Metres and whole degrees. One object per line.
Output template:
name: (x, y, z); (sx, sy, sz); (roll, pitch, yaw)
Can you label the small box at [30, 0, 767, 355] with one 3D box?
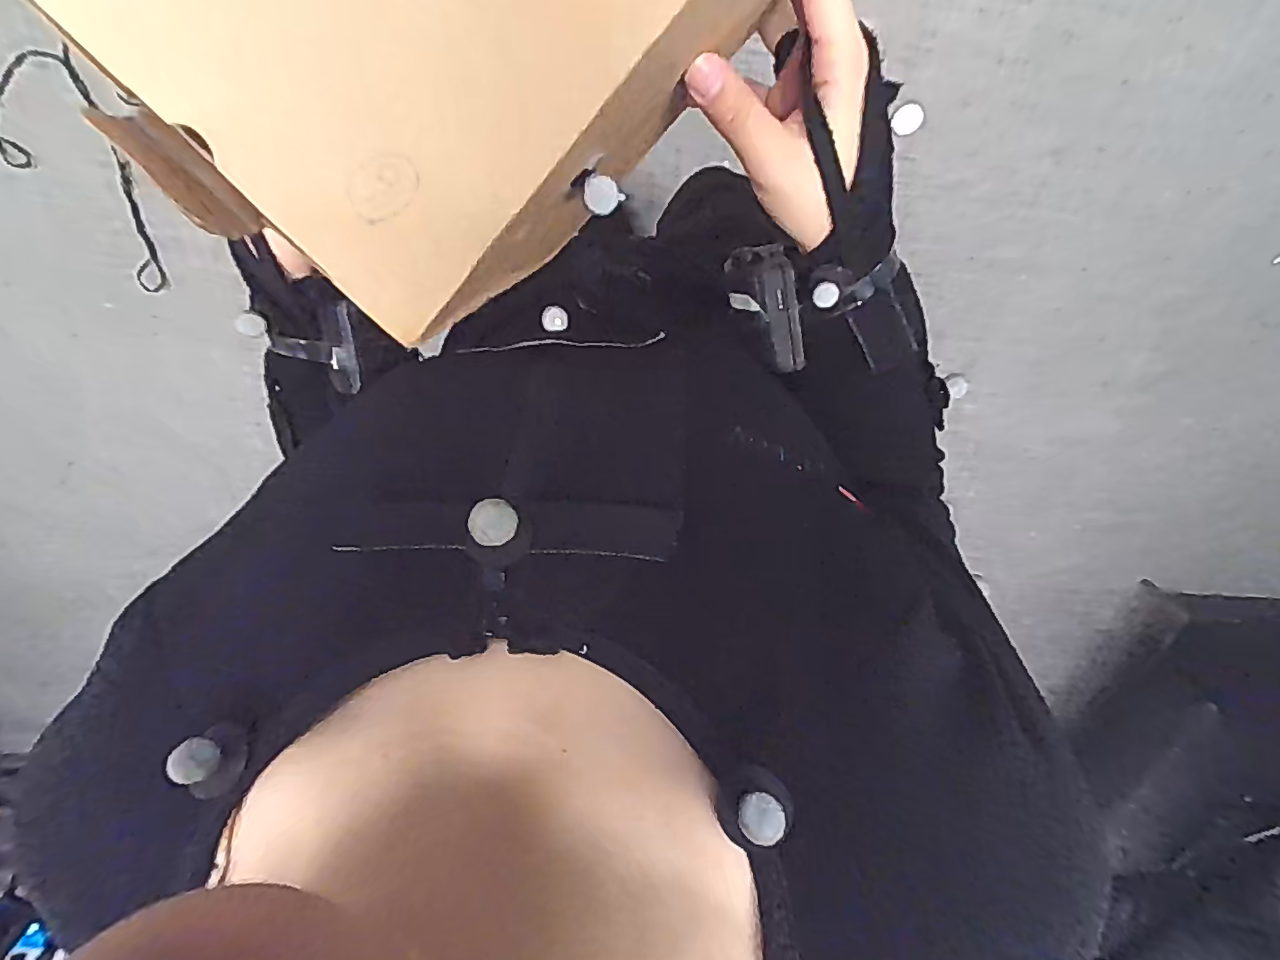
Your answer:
small box: (-0.063, -0.185, 0.208); (0.179, 0.176, 0.168); (-37, 109, 28)
